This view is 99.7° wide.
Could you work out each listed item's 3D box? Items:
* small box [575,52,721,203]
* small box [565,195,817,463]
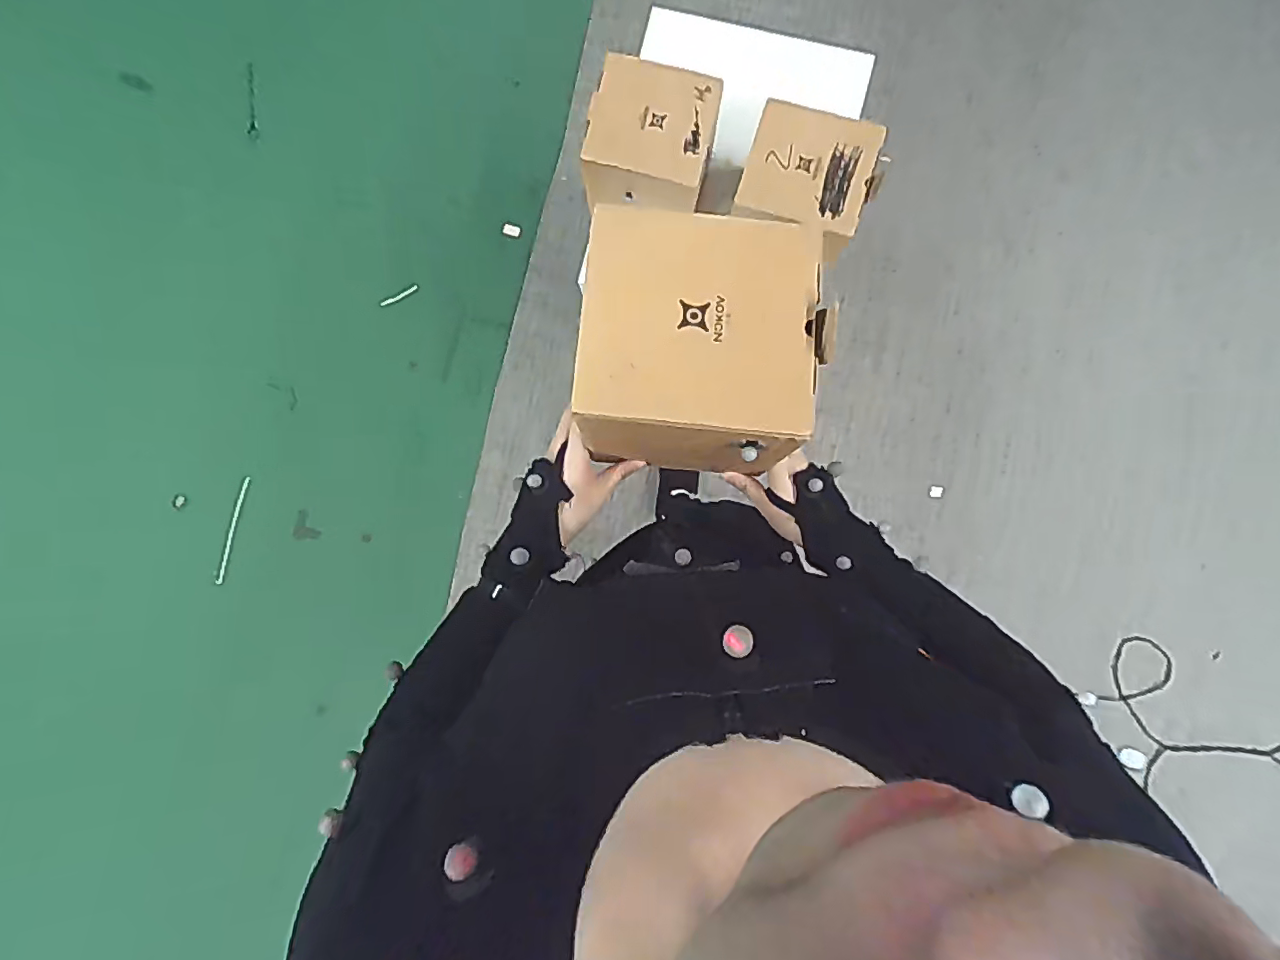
[{"bbox_3d":[0.013,-0.508,0.844,0.179,0.176,0.168,15,89,2],"label":"small box"},{"bbox_3d":[0.038,-0.114,0.472,0.179,0.176,0.168,5,81,-1],"label":"small box"}]
